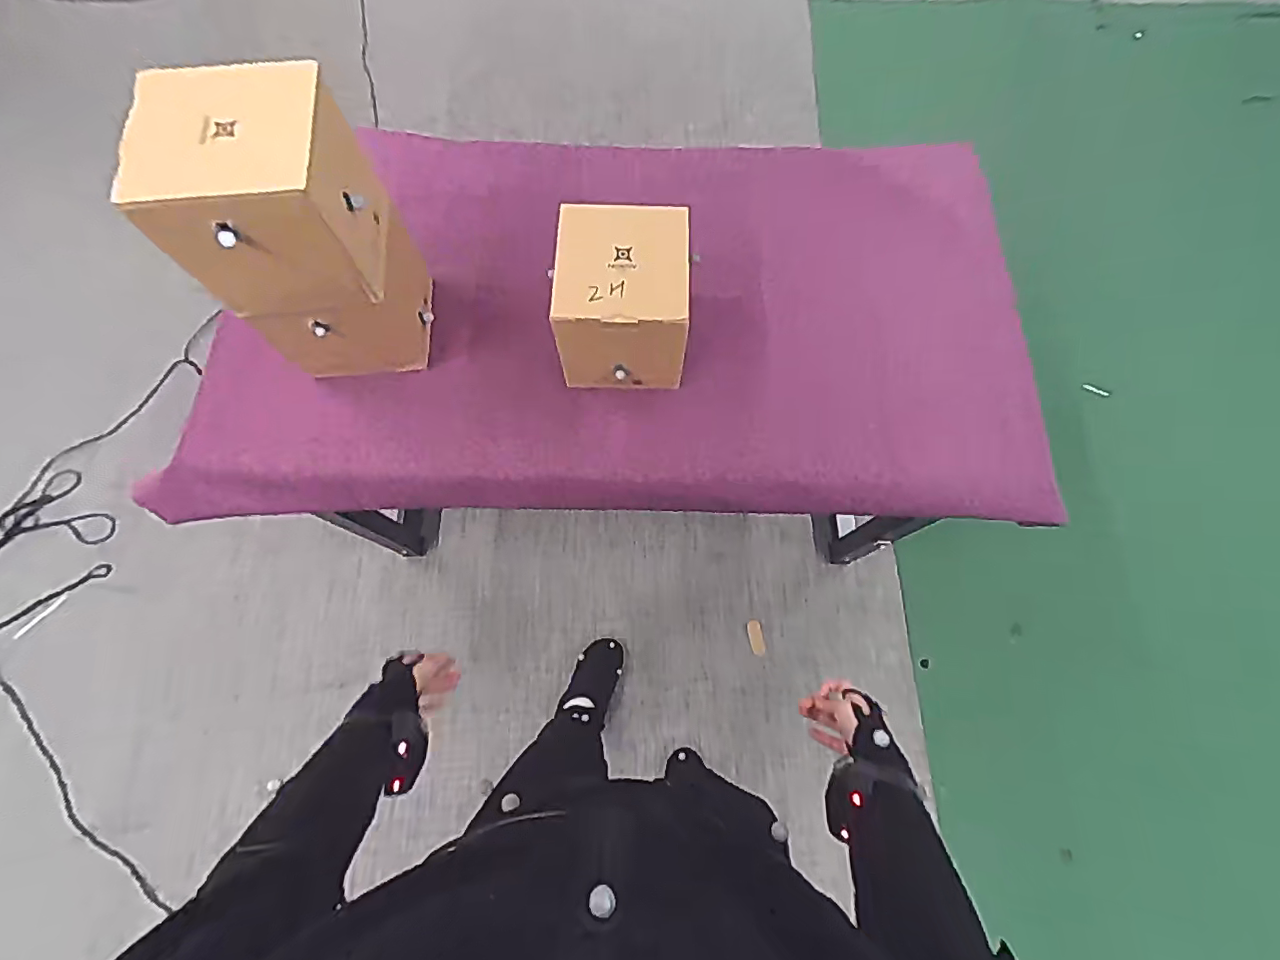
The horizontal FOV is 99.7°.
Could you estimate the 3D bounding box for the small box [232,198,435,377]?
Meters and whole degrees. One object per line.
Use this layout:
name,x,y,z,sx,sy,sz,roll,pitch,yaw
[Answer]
small box,-0.400,-0.253,0.739,0.179,0.176,0.168,-4,72,-2

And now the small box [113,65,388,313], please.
small box,-0.394,-0.302,0.585,0.179,0.176,0.168,-6,72,-2

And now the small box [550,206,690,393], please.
small box,-0.023,-0.238,0.737,0.168,0.176,0.179,2,71,1
